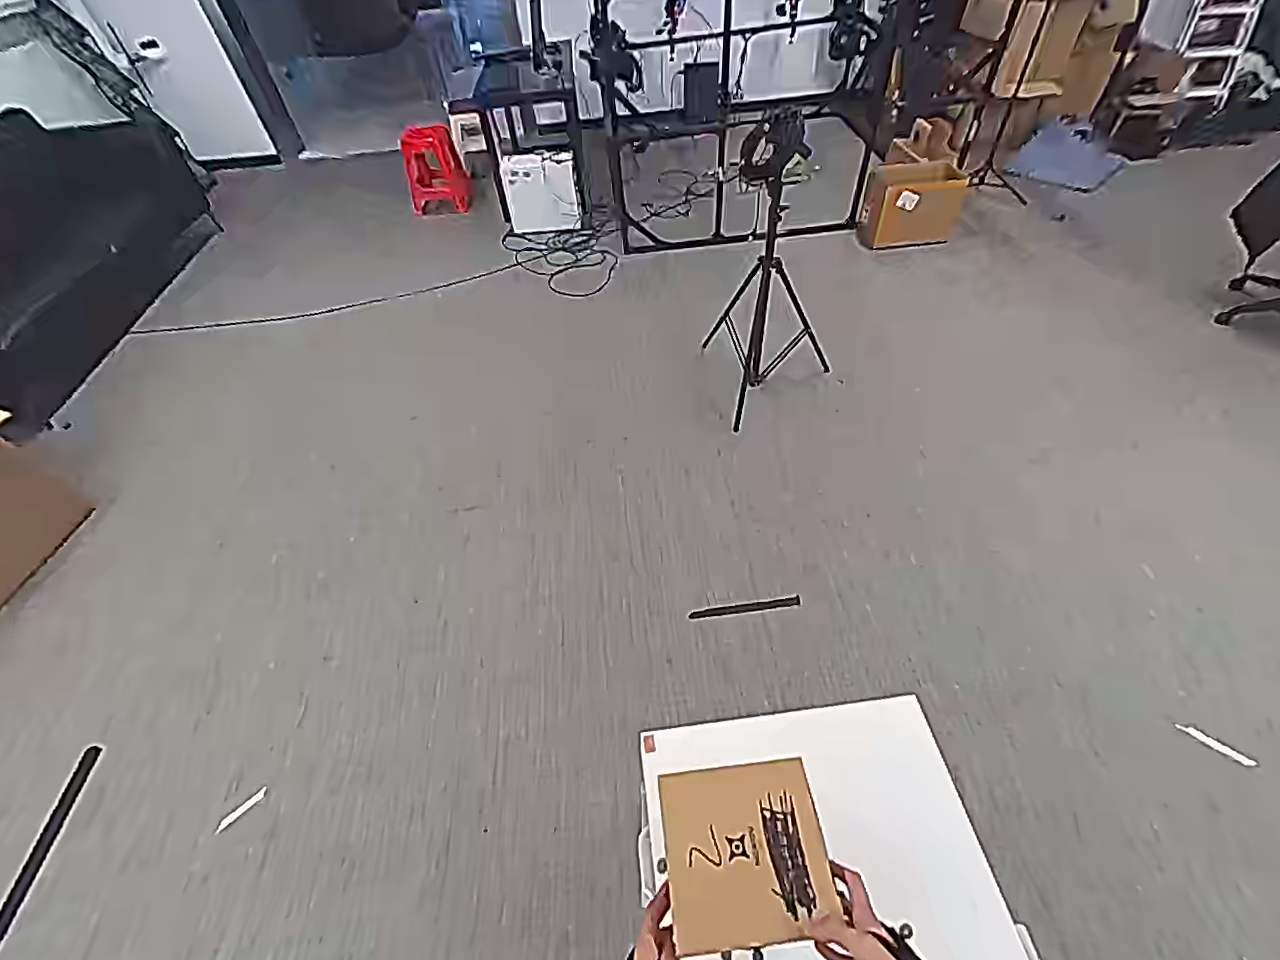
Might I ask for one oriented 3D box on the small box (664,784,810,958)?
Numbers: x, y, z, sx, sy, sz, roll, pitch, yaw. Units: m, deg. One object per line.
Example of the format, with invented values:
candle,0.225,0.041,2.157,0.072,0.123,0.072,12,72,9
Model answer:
small box,0.127,0.557,0.773,0.168,0.176,0.179,-6,49,-1
